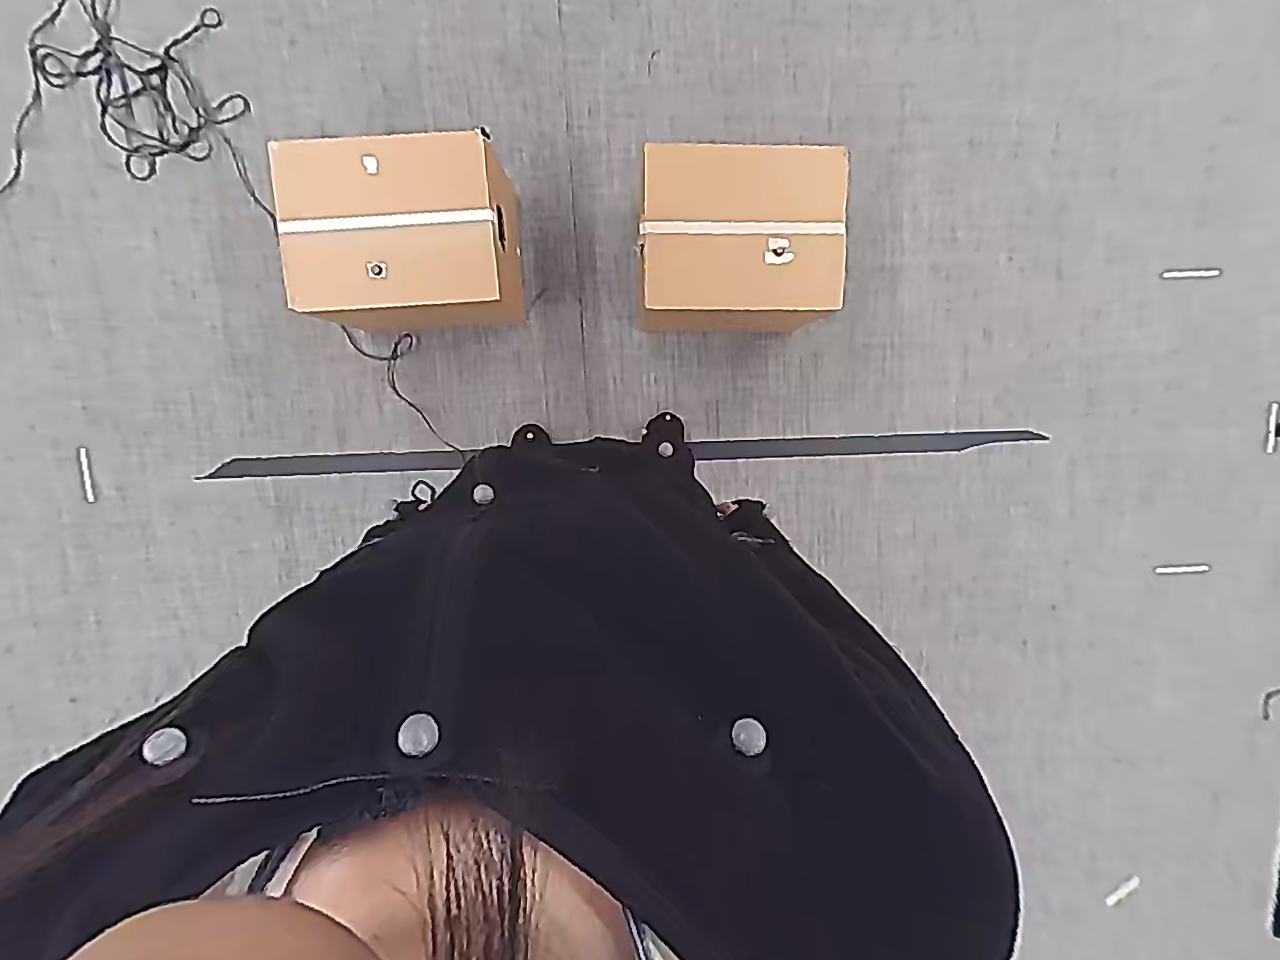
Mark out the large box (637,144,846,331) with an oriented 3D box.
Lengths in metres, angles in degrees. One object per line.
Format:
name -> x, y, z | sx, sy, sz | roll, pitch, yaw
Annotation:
large box -> 0.202, -0.521, 1.225 | 0.408, 0.320, 0.320 | 0, 98, -3
